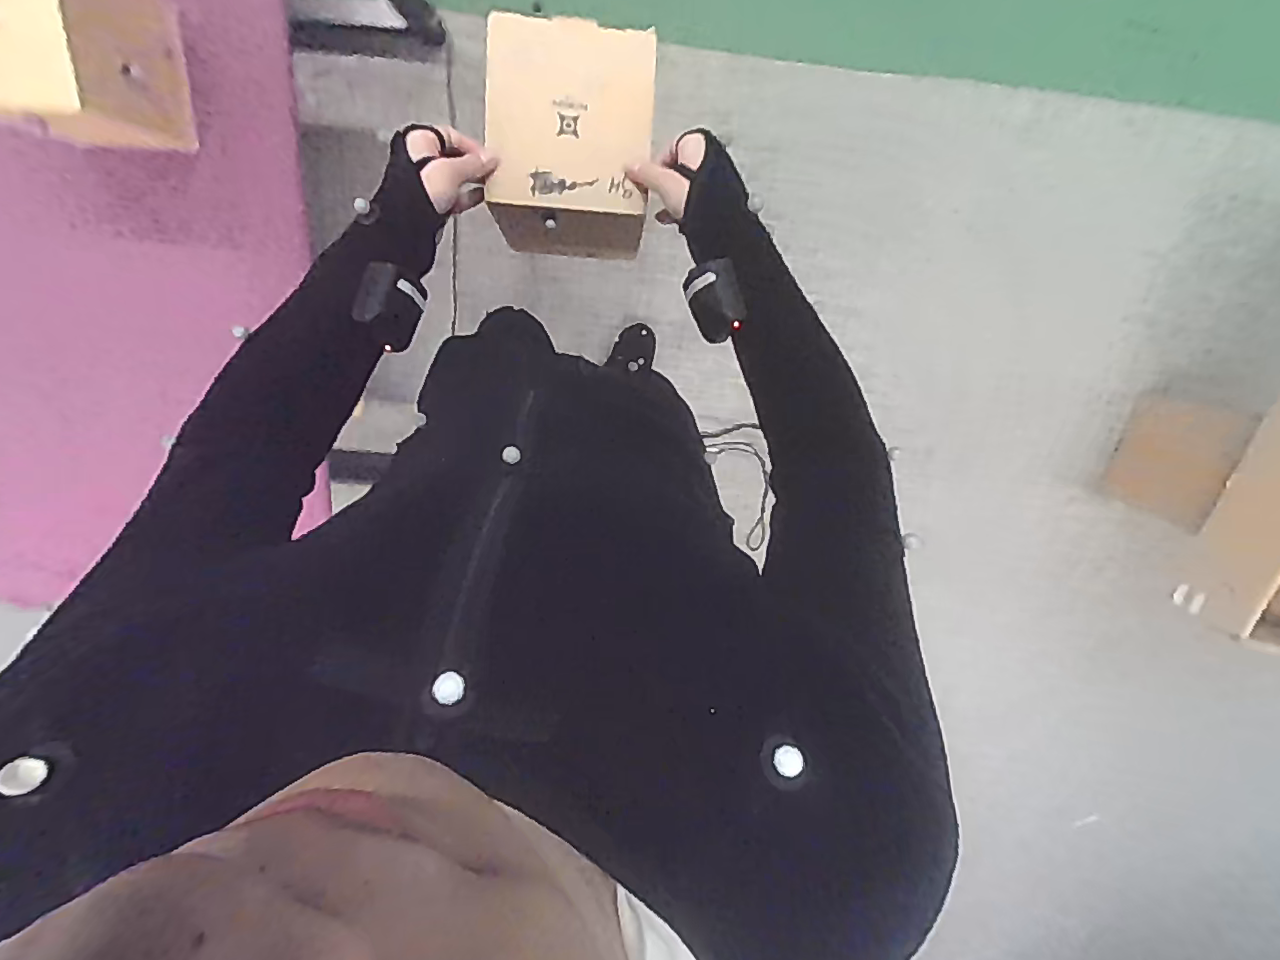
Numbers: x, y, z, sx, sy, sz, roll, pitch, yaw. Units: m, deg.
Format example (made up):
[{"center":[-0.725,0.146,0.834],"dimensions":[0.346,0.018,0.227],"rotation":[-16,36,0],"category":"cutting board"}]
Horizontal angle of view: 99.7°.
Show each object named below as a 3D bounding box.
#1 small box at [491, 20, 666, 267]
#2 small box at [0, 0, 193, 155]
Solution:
[{"center":[-0.069,-0.364,0.620],"dimensions":[0.168,0.176,0.179],"rotation":[4,97,-5],"category":"small box"},{"center":[-0.688,-0.505,0.650],"dimensions":[0.179,0.176,0.168],"rotation":[4,109,1],"category":"small box"}]
